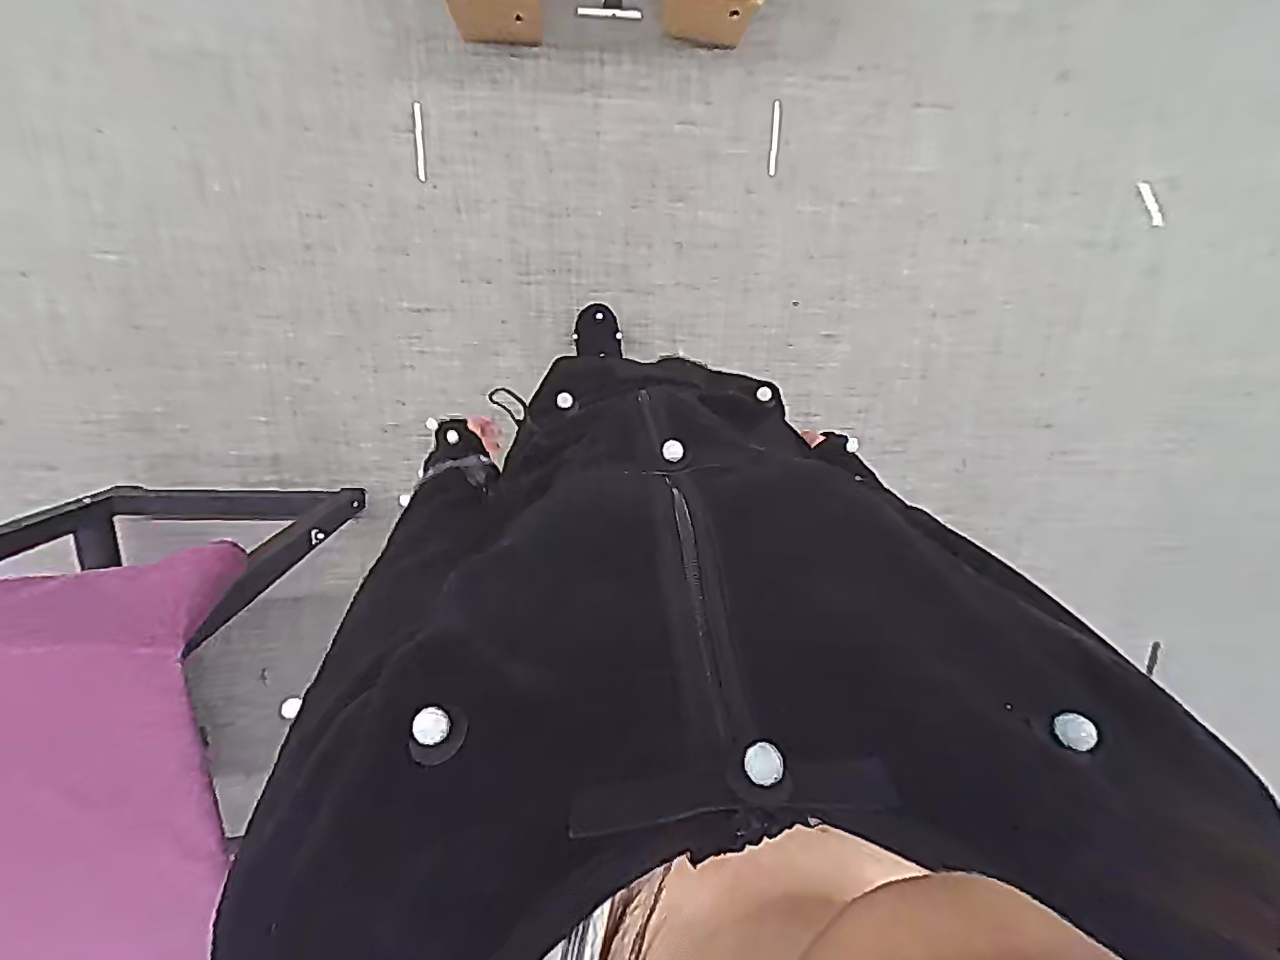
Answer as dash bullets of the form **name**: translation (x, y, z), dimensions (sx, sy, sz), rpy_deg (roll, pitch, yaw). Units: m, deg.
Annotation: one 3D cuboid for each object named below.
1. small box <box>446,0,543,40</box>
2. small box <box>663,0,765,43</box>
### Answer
- **small box**: translation (-0.281, -0.987, 1.043), dimensions (0.179, 0.176, 0.168), rpy_deg (-3, 105, -5)
- **small box**: translation (0.153, -1.018, 1.083), dimensions (0.179, 0.176, 0.168), rpy_deg (3, 105, -8)
